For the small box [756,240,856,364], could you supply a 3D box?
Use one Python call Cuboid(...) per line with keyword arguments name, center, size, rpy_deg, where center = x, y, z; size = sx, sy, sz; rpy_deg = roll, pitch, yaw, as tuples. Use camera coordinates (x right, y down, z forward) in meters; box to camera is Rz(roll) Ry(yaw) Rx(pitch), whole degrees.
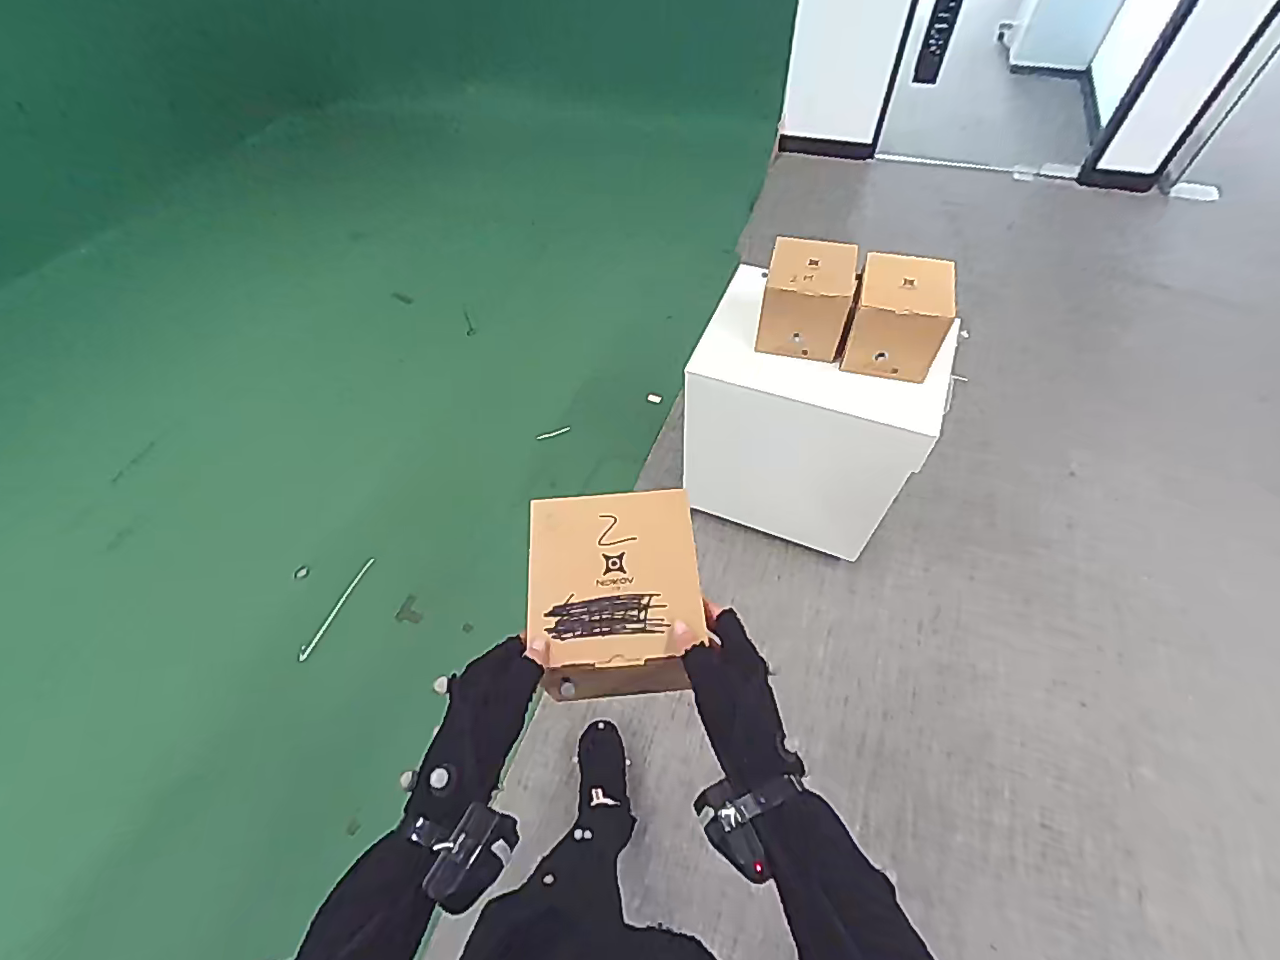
Cuboid(name="small box", center=(0.343, -0.373, 1.138), size=(0.168, 0.176, 0.179), rpy_deg=(11, 57, 12))
